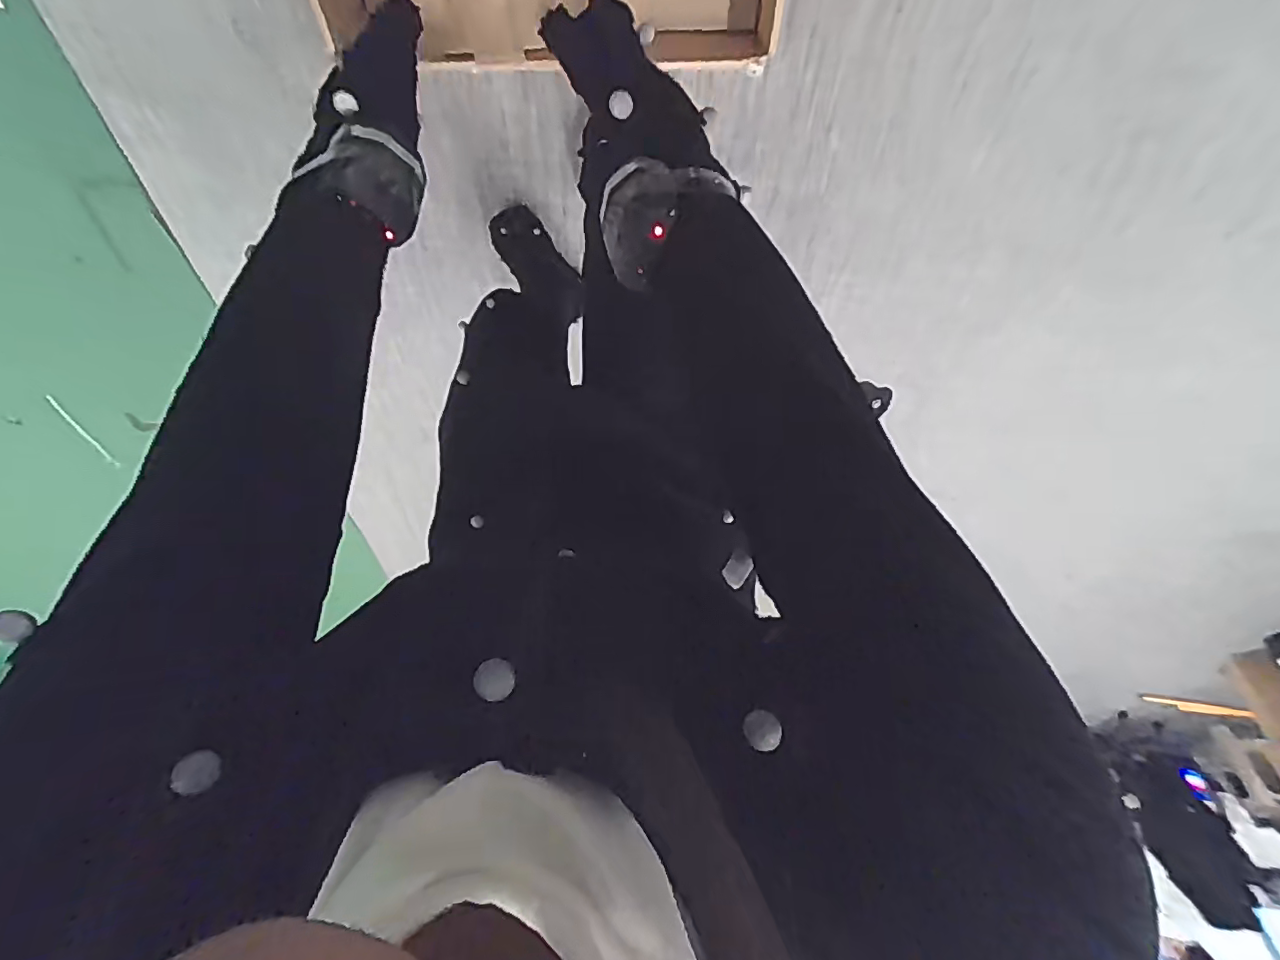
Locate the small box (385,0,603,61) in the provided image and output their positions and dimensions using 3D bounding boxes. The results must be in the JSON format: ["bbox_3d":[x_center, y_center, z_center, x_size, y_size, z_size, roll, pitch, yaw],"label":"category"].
[{"bbox_3d":[-0.123,-0.480,0.448,0.168,0.176,0.179,1,141,3],"label":"small box"}]
